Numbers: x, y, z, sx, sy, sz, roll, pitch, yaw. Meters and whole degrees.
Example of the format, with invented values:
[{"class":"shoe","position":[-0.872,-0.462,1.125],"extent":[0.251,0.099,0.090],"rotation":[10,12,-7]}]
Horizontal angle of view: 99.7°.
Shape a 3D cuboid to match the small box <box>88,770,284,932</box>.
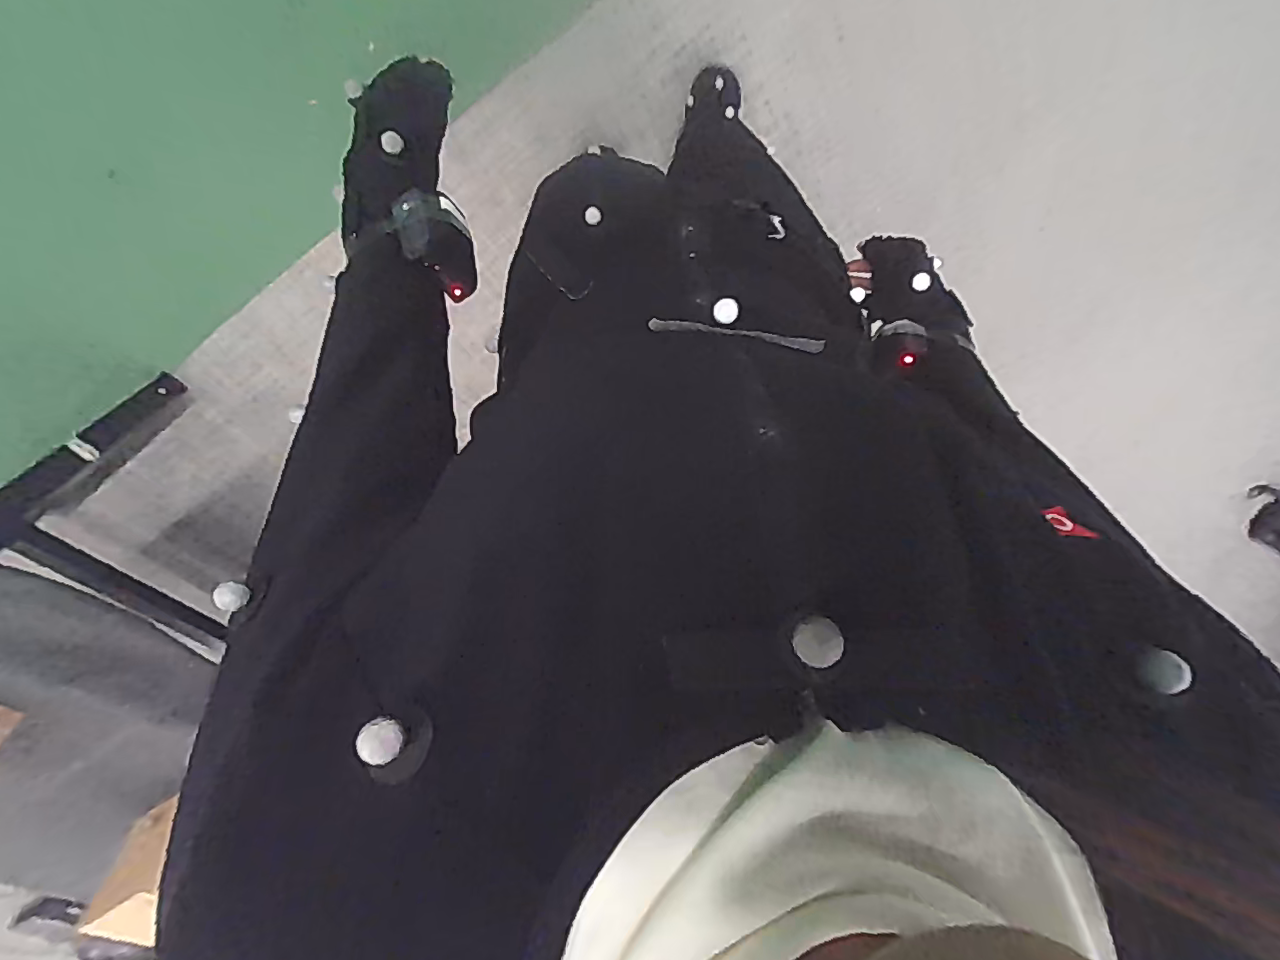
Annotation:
[{"class":"small box","position":[-0.773,0.645,0.944],"extent":[0.179,0.176,0.168],"rotation":[-32,124,14]}]
